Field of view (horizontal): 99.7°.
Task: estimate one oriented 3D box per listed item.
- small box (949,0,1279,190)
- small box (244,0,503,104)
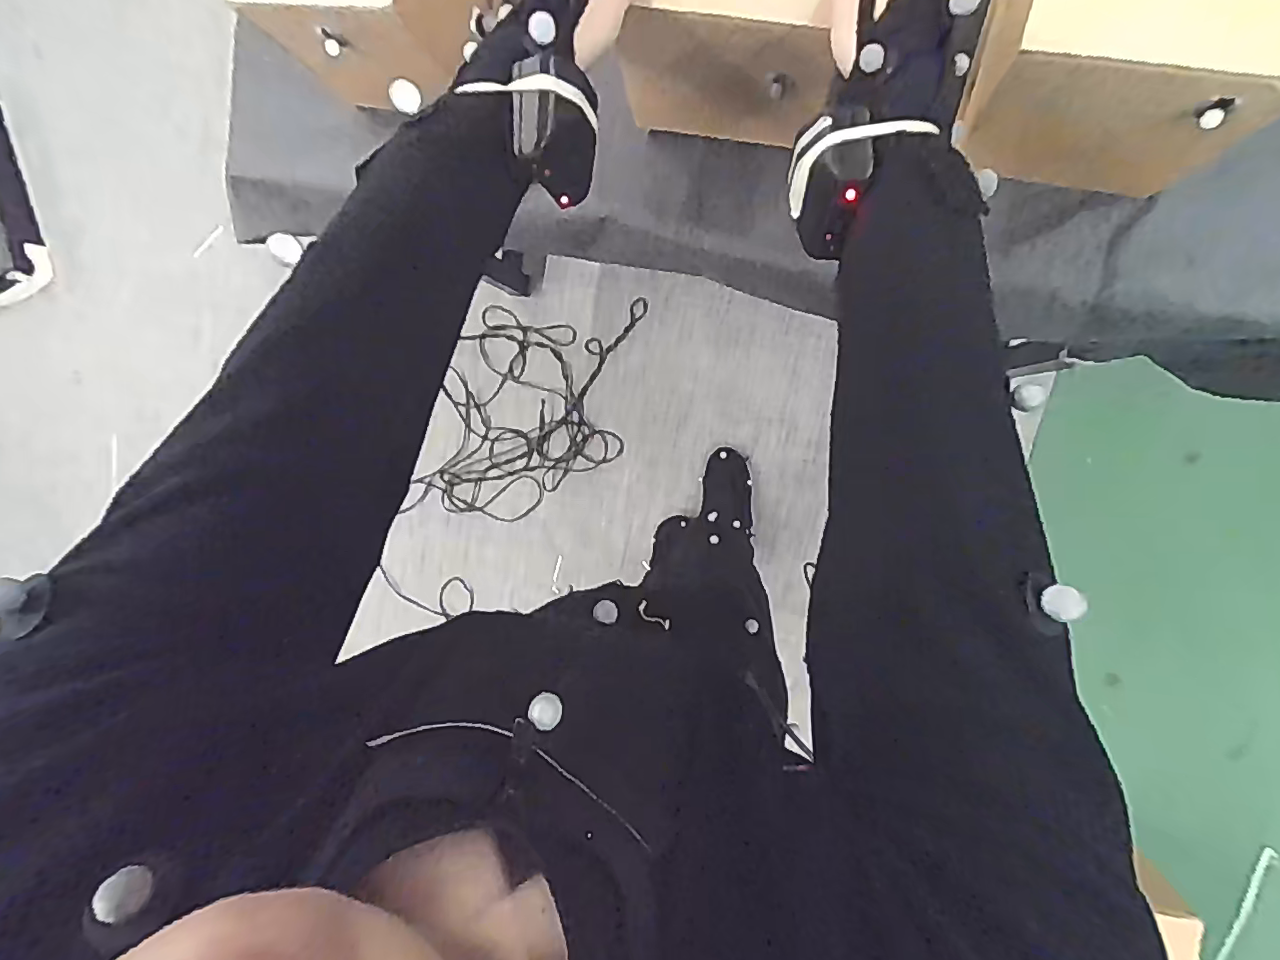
[{"bbox_3d":[0.362,-0.340,0.399,0.179,0.176,0.168,15,99,10],"label":"small box"},{"bbox_3d":[-0.251,-0.494,0.517,0.179,0.176,0.168,12,100,10],"label":"small box"}]
